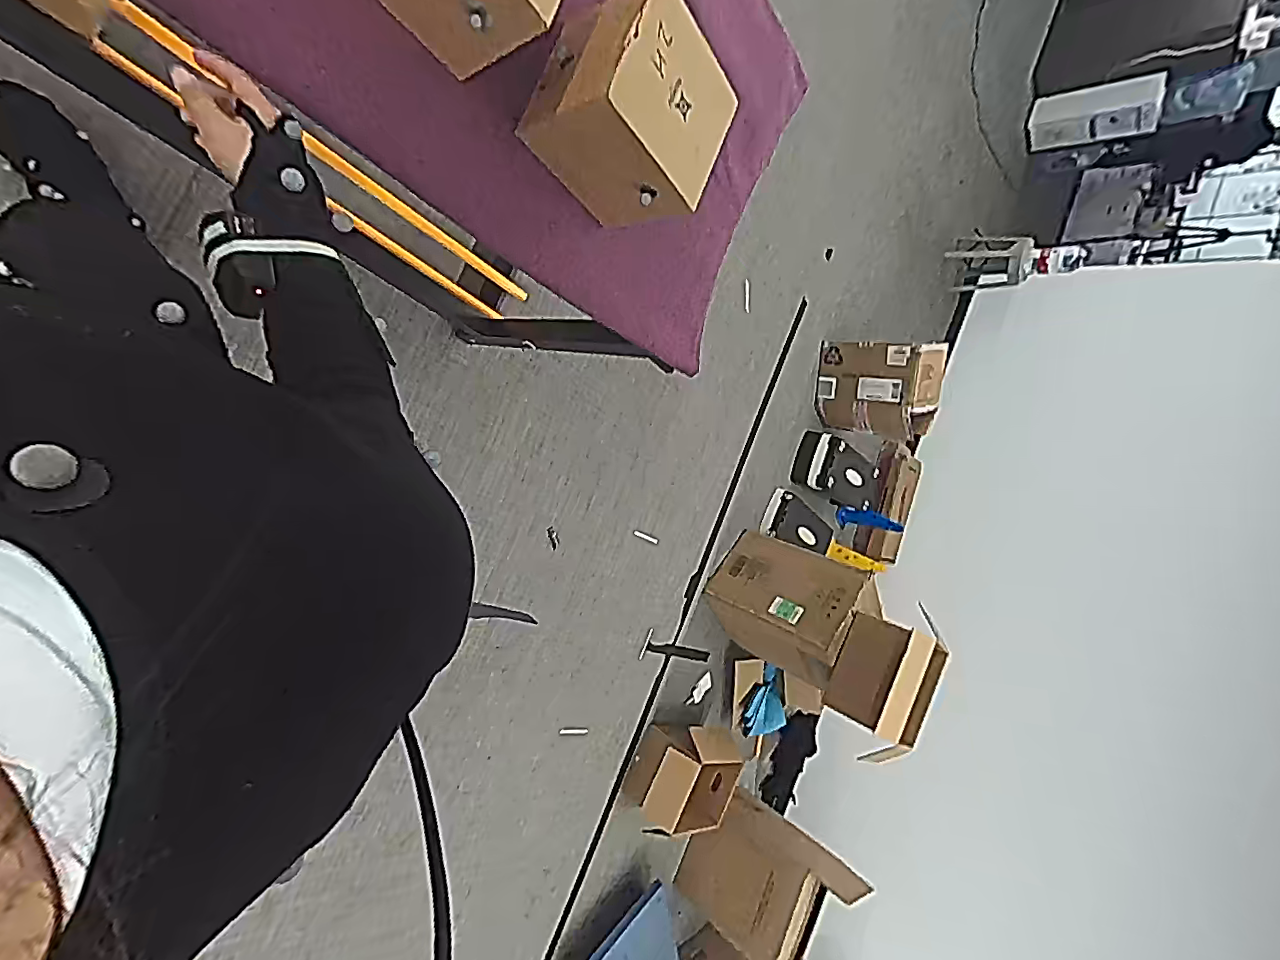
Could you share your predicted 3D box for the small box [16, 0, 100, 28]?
[{"bbox_3d":[-0.794,-0.728,0.687,0.179,0.176,0.168,22,88,-47],"label":"small box"}]
